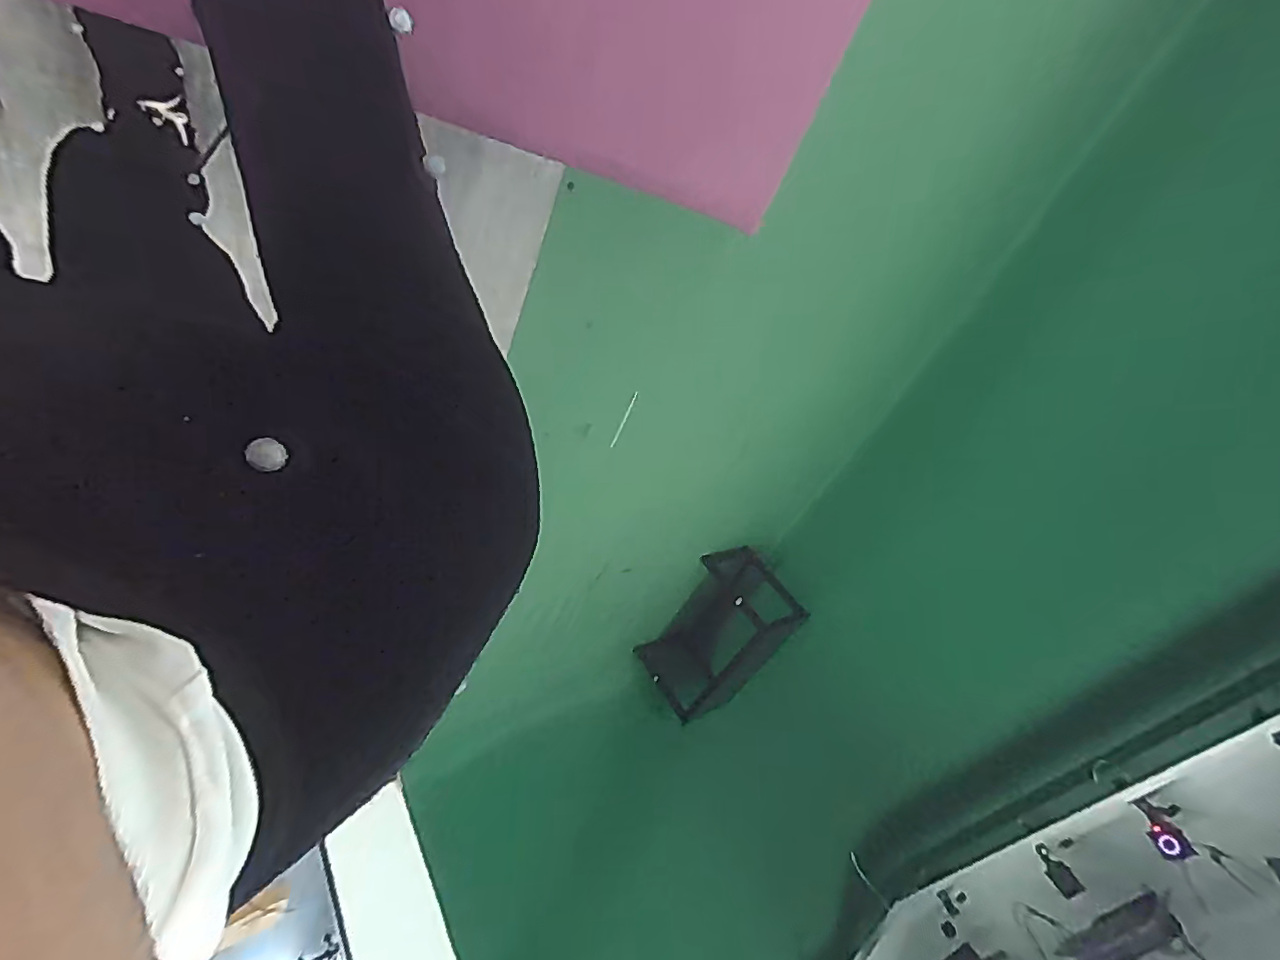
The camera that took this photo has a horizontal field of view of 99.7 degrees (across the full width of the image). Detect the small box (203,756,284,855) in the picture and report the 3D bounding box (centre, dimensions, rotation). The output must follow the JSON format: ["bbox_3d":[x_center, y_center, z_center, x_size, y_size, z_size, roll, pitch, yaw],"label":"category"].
[{"bbox_3d":[-1.170,0.945,1.589,0.168,0.176,0.179,-3,135,-44],"label":"small box"}]

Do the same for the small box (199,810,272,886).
[{"bbox_3d":[-1.283,1.128,1.714,0.168,0.176,0.179,-4,133,-43],"label":"small box"}]

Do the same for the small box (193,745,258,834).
[{"bbox_3d":[-1.374,1.024,1.800,0.168,0.176,0.179,-5,134,-44],"label":"small box"}]
